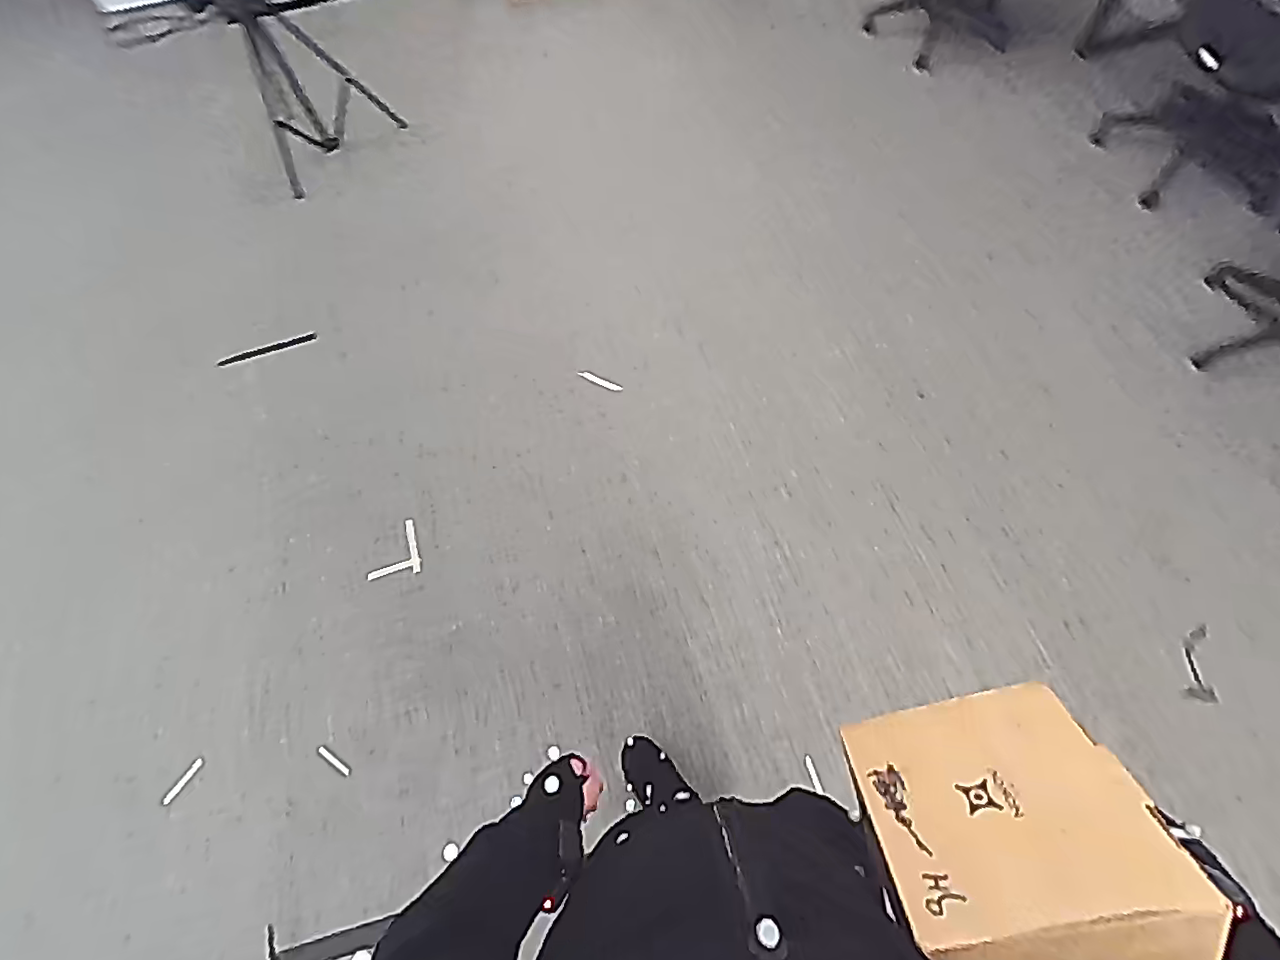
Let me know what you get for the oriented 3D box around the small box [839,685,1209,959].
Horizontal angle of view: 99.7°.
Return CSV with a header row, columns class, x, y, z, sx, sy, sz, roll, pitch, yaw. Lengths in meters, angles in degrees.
class,x,y,z,sx,sy,sz,roll,pitch,yaw
small box,0.285,0.304,0.440,0.179,0.176,0.168,-17,24,9
